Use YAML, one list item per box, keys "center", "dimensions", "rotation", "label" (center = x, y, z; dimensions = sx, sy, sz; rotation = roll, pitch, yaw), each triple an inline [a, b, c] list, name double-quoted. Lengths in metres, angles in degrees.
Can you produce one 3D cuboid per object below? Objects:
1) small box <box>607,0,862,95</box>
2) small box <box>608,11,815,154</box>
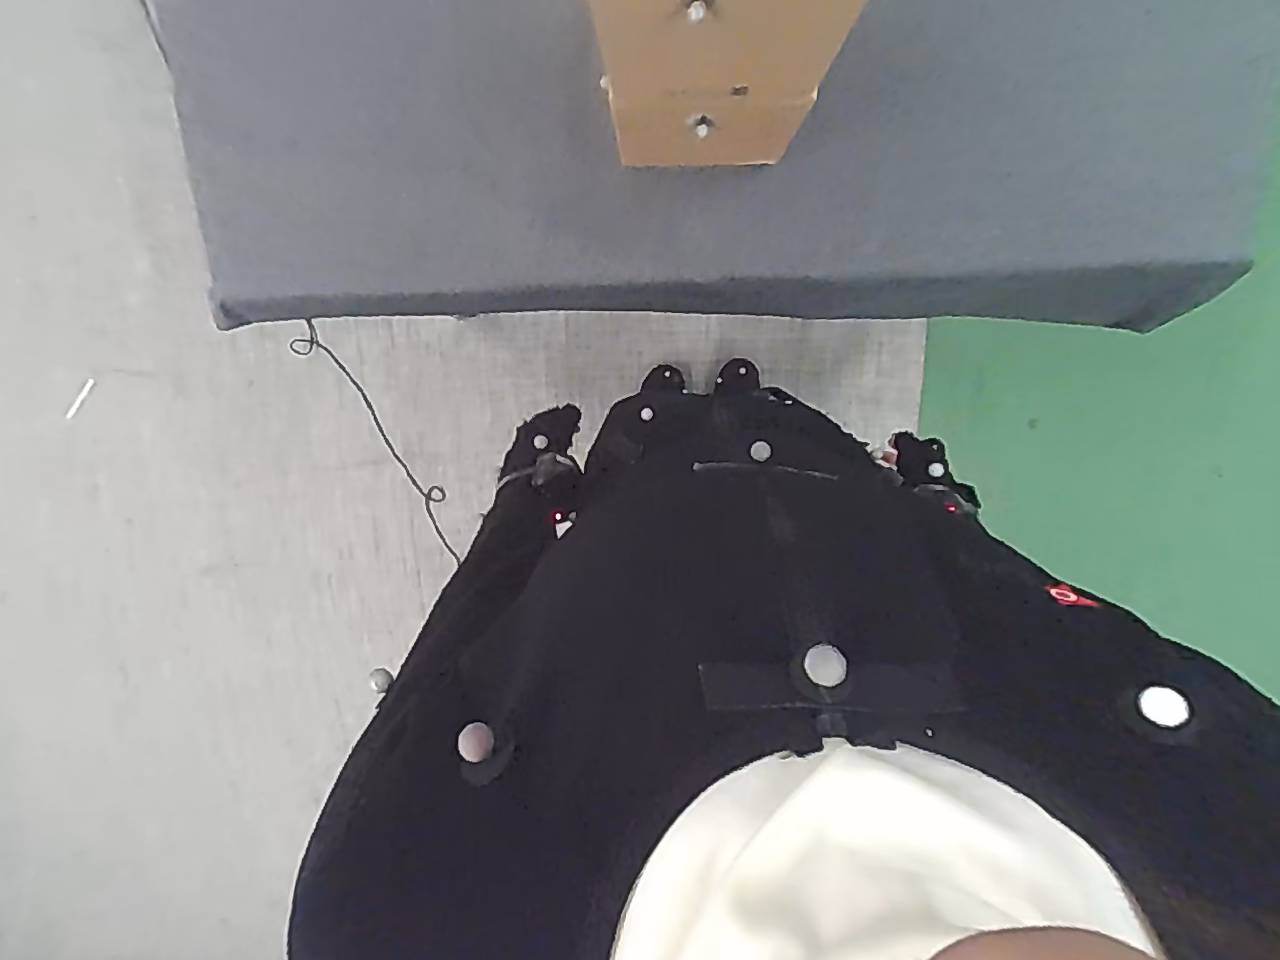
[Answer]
- center: [0.059, -0.393, 0.359]
  dimensions: [0.168, 0.176, 0.179]
  rotation: [-1, 105, 2]
  label: "small box"
- center: [0.065, -0.428, 0.516]
  dimensions: [0.179, 0.176, 0.168]
  rotation: [1, 104, 2]
  label: "small box"
